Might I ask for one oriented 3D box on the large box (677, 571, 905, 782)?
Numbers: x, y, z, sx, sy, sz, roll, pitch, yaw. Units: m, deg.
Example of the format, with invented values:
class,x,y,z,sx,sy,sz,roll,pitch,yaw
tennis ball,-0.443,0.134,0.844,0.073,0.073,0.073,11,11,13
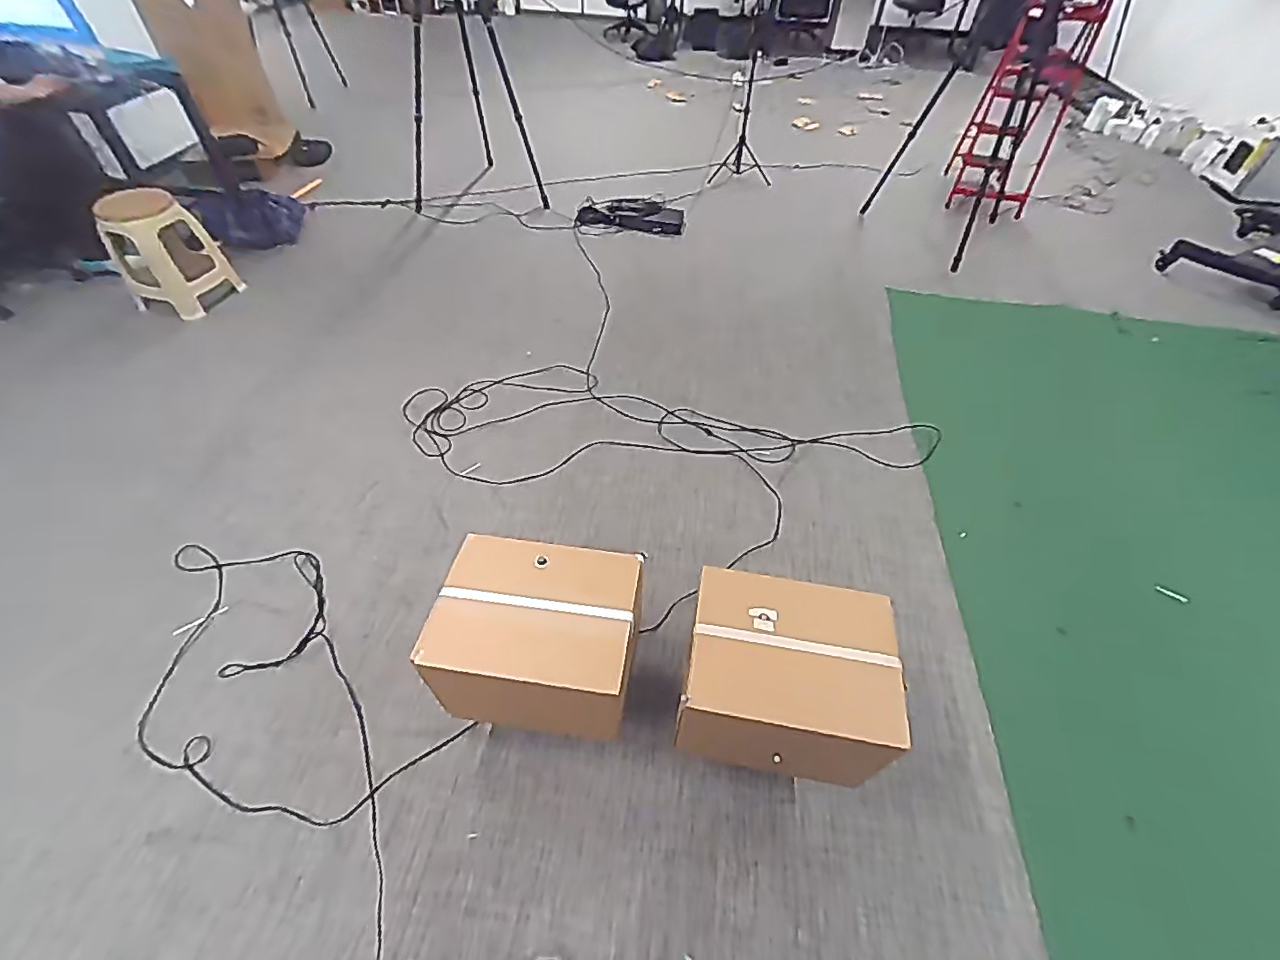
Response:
class,x,y,z,sx,sy,sz,roll,pitch,yaw
large box,0.309,0.439,1.200,0.408,0.320,0.320,9,49,6
